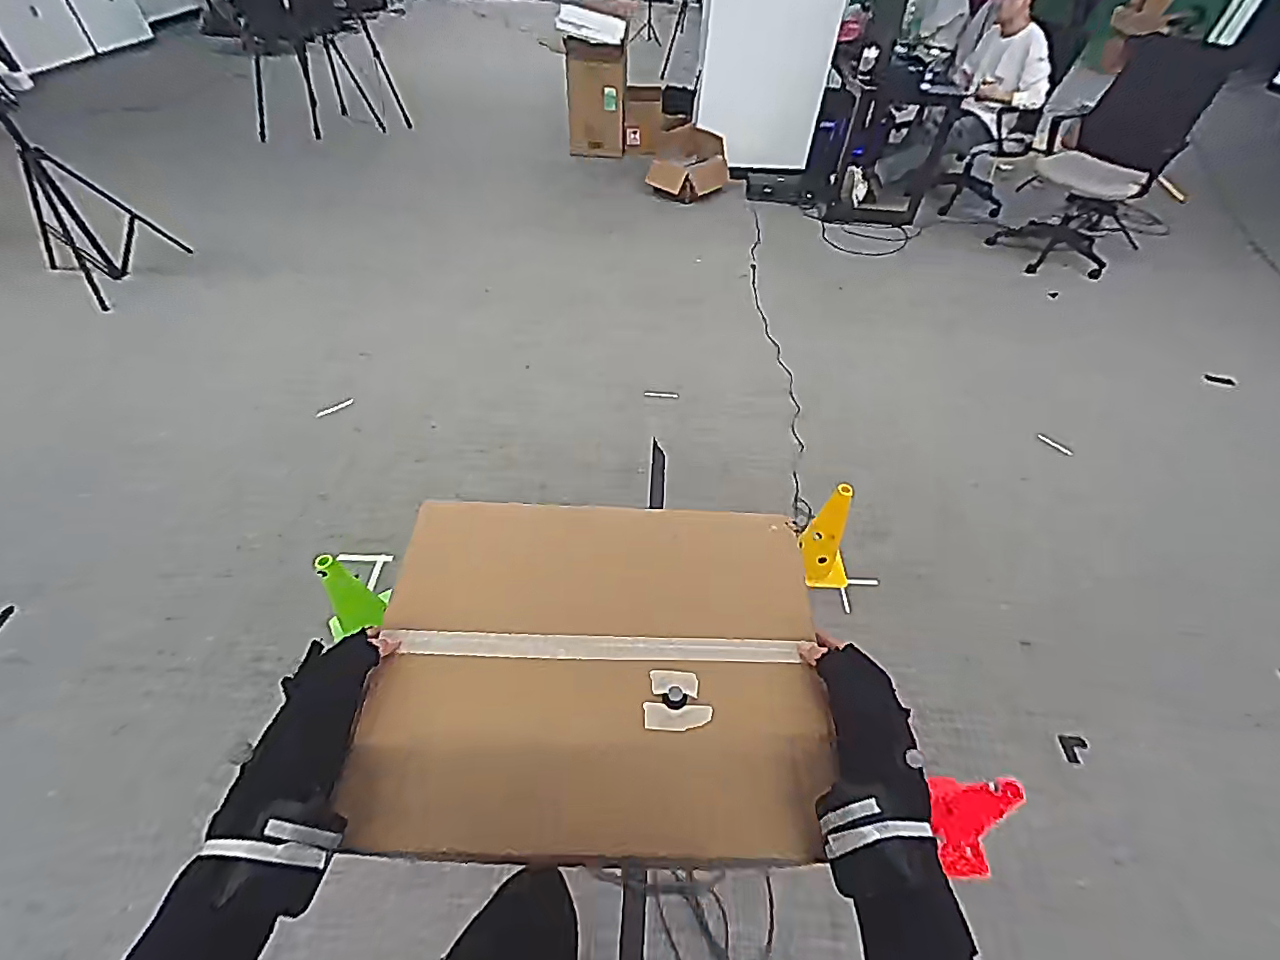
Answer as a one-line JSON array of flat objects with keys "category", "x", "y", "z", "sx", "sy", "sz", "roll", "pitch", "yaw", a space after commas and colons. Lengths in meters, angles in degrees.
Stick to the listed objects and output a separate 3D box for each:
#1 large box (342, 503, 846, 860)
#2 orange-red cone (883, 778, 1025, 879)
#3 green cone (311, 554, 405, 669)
[{"category": "large box", "x": -0.042, "y": 0.243, "z": 0.627, "sx": 0.408, "sy": 0.320, "sz": 0.320, "roll": 3, "pitch": 53, "yaw": -2}, {"category": "orange-red cone", "x": 0.697, "y": 0.698, "z": 1.148, "sx": 0.198, "sy": 0.360, "sz": 0.199, "roll": 2, "pitch": 47, "yaw": -2}, {"category": "green cone", "x": -0.763, "y": 0.304, "z": 1.426, "sx": 0.202, "sy": 0.368, "sz": 0.200, "roll": -27, "pitch": 54, "yaw": -22}]
